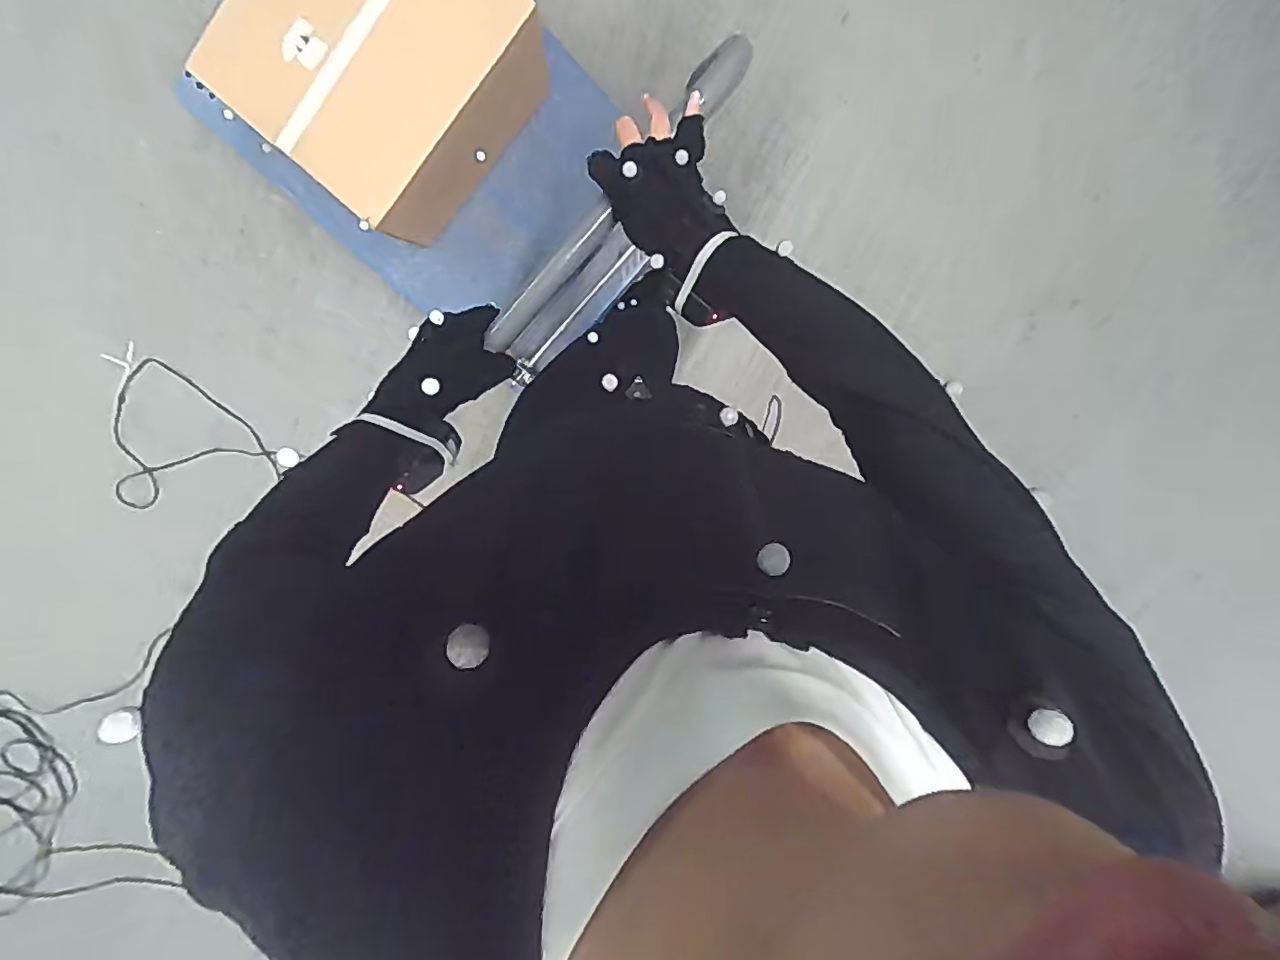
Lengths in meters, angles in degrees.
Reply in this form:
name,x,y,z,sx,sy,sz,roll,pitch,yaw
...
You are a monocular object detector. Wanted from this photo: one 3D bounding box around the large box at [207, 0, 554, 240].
name,x,y,z,sx,sy,sz,roll,pitch,yaw
large box,-0.392,-0.686,0.916,0.320,0.320,0.408,40,101,-15
